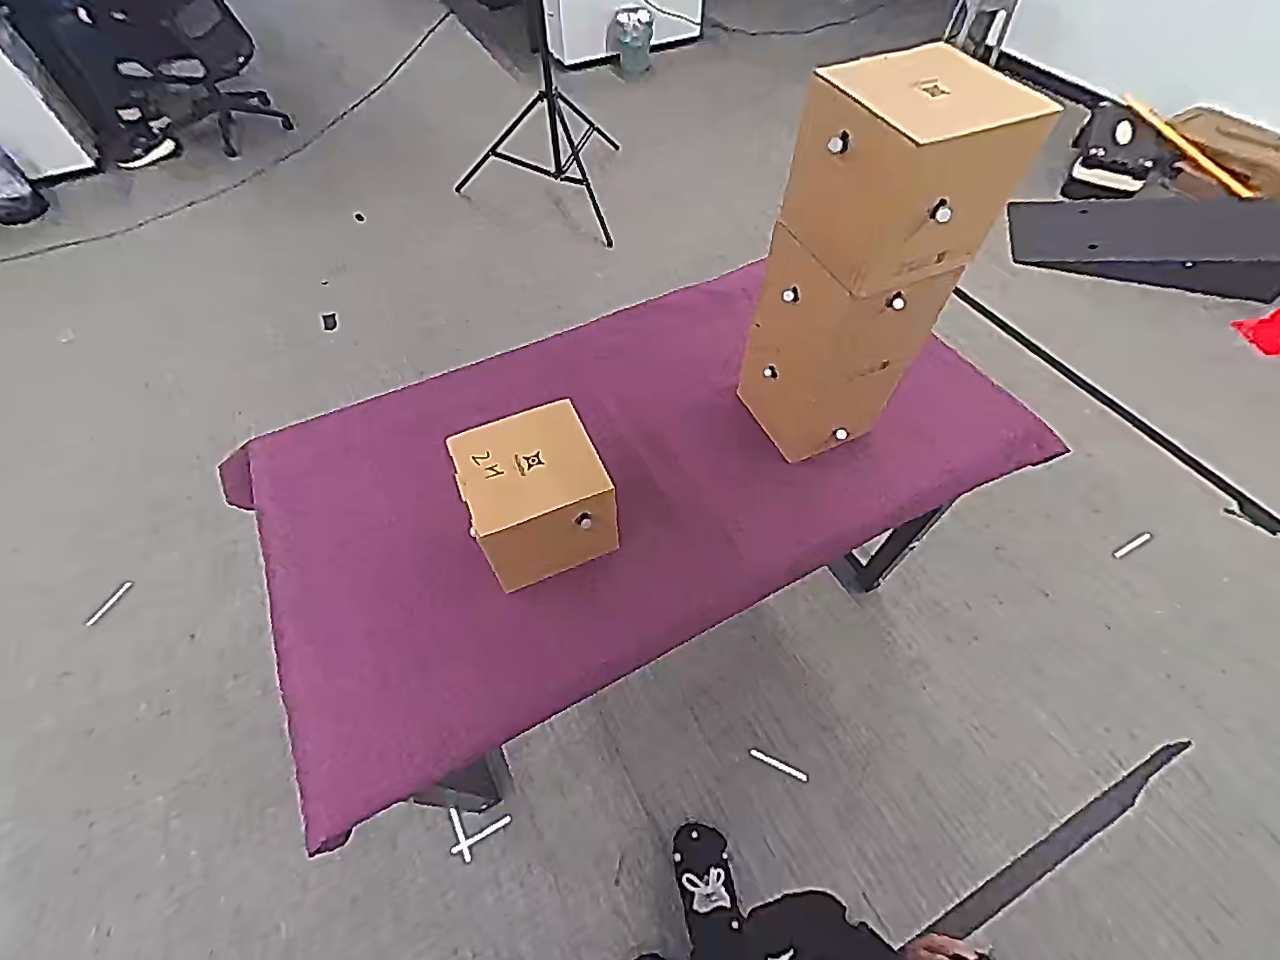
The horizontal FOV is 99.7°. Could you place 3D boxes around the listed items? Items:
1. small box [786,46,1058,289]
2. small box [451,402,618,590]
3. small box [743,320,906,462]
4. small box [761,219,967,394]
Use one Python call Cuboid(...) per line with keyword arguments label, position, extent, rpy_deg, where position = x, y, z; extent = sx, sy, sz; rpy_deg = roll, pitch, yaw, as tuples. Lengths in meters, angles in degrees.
Cuboid(label="small box", position=(0.286, -0.334, 0.596), extent=(0.168, 0.176, 0.179), rpy_deg=(-20, 58, -11))
Cuboid(label="small box", position=(-0.139, 0.026, 0.754), extent=(0.179, 0.176, 0.168), rpy_deg=(-21, 58, -12))
Cuboid(label="small box", position=(0.283, -0.161, 0.874), extent=(0.168, 0.176, 0.179), rpy_deg=(-22, 59, -13))
Cuboid(label="small box", position=(0.284, -0.248, 0.736), extent=(0.168, 0.176, 0.179), rpy_deg=(-20, 58, -11))
